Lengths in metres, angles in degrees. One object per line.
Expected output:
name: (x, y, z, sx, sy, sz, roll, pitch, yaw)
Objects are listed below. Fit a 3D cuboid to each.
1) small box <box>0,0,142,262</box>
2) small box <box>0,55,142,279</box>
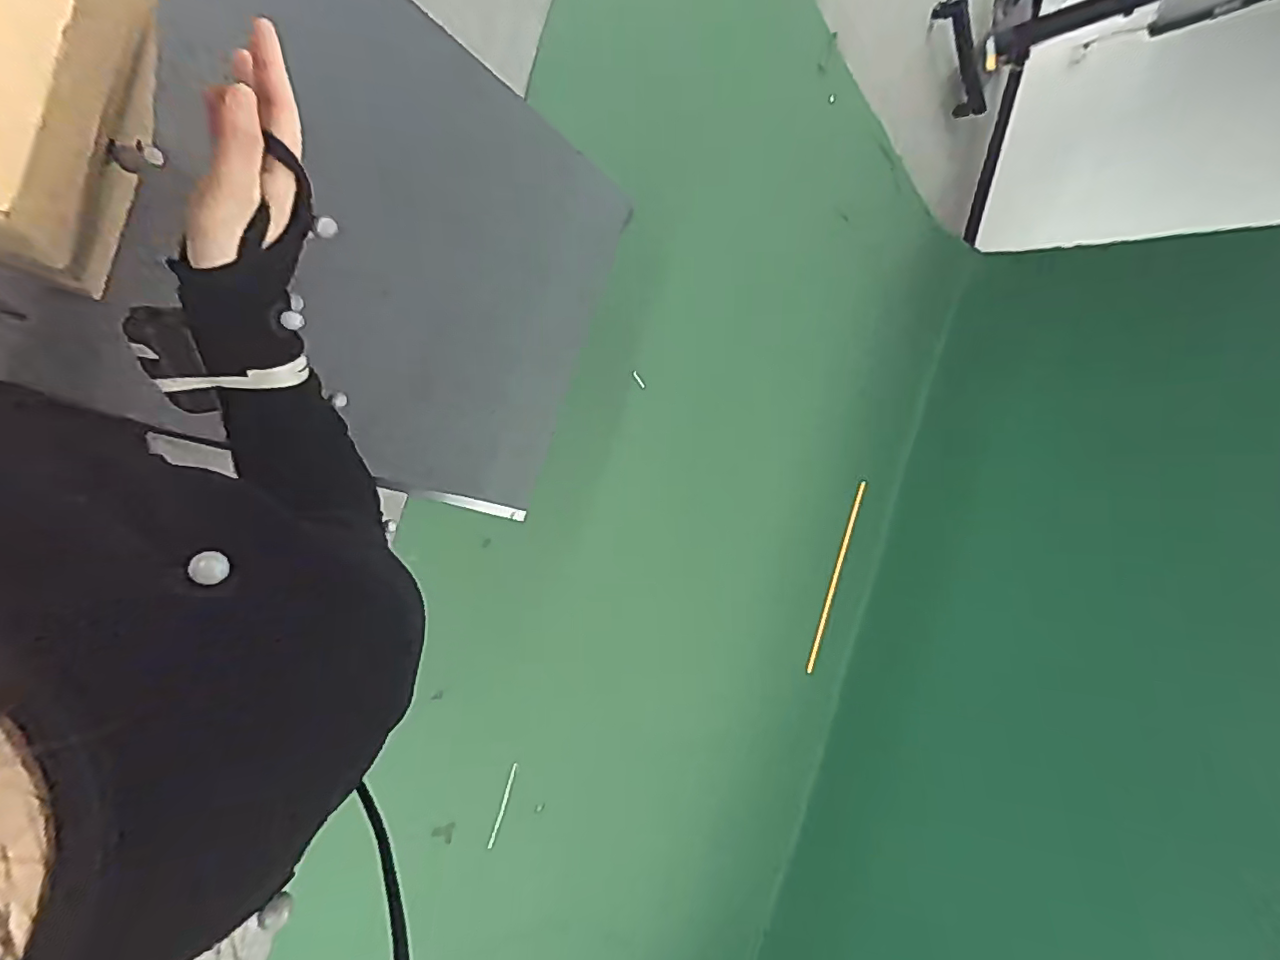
small box: (-0.419, -0.247, 0.302, 0.168, 0.176, 0.179, 21, 87, -45)
small box: (-0.524, -0.278, 0.419, 0.168, 0.176, 0.179, 19, 88, -44)
